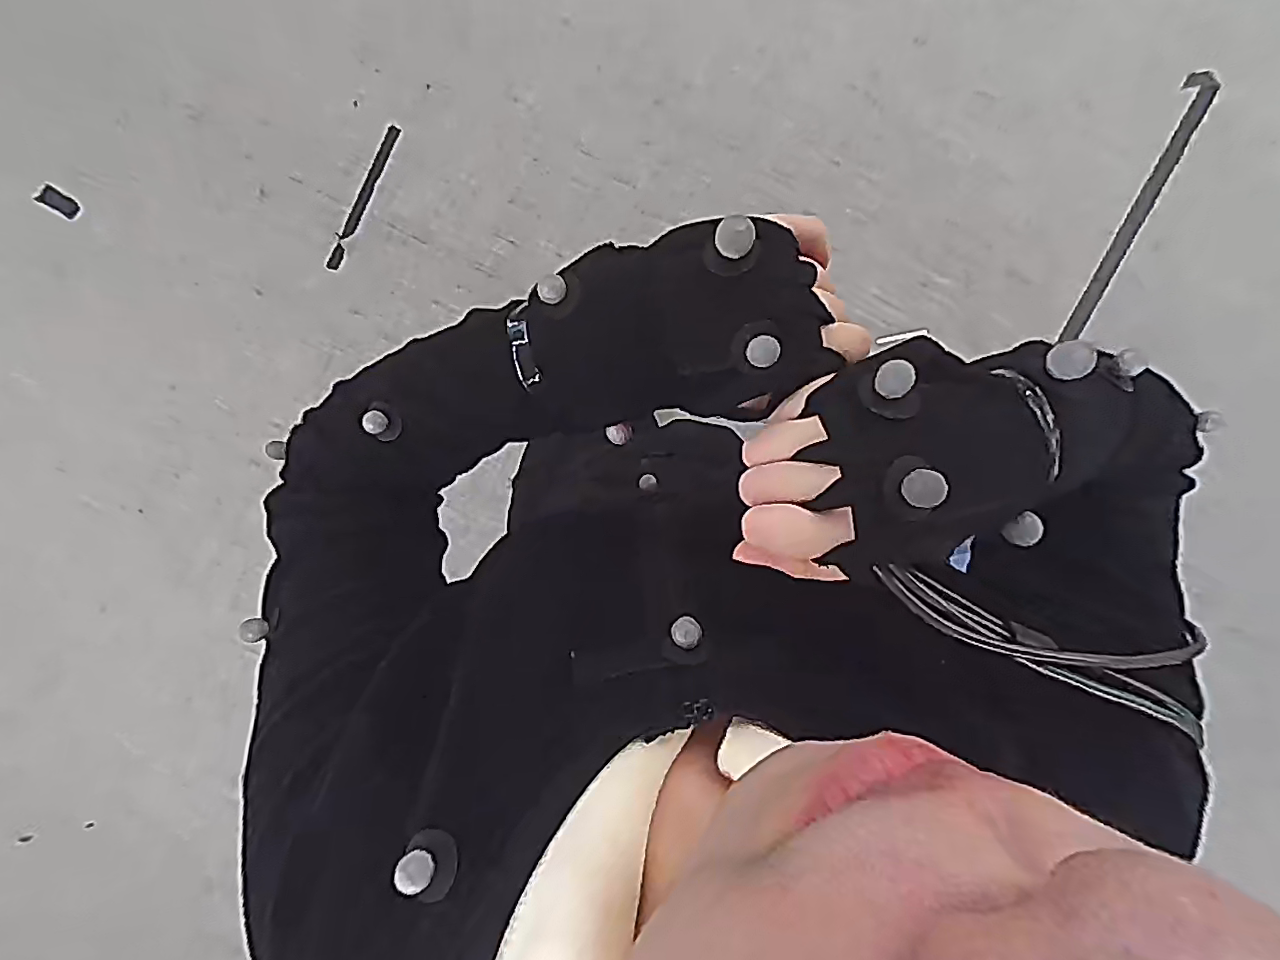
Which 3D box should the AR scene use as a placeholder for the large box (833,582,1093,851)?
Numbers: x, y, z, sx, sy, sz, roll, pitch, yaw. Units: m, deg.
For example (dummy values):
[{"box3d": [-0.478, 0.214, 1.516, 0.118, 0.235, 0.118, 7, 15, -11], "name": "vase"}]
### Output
[{"box3d": [0.703, 0.507, 1.233, 0.320, 0.320, 0.408, -24, 97, 2], "name": "large box"}]
